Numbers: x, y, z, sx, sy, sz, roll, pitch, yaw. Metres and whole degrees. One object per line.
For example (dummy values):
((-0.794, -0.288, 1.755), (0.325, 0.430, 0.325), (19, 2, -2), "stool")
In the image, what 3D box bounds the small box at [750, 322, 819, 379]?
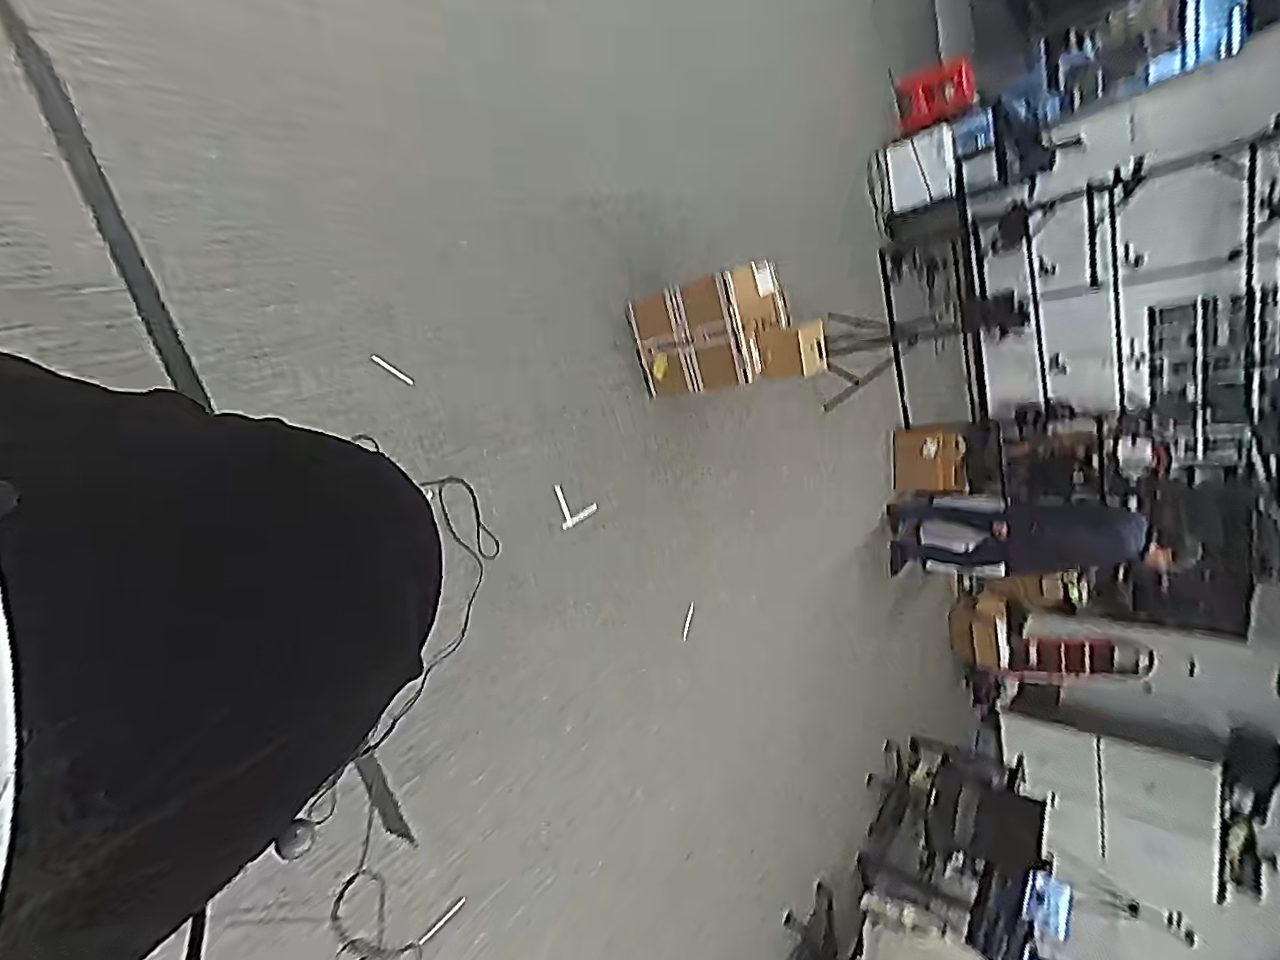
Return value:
((0.522, -0.469, 1.954), (0.179, 0.176, 0.168), (-26, 110, -40), "small box")
